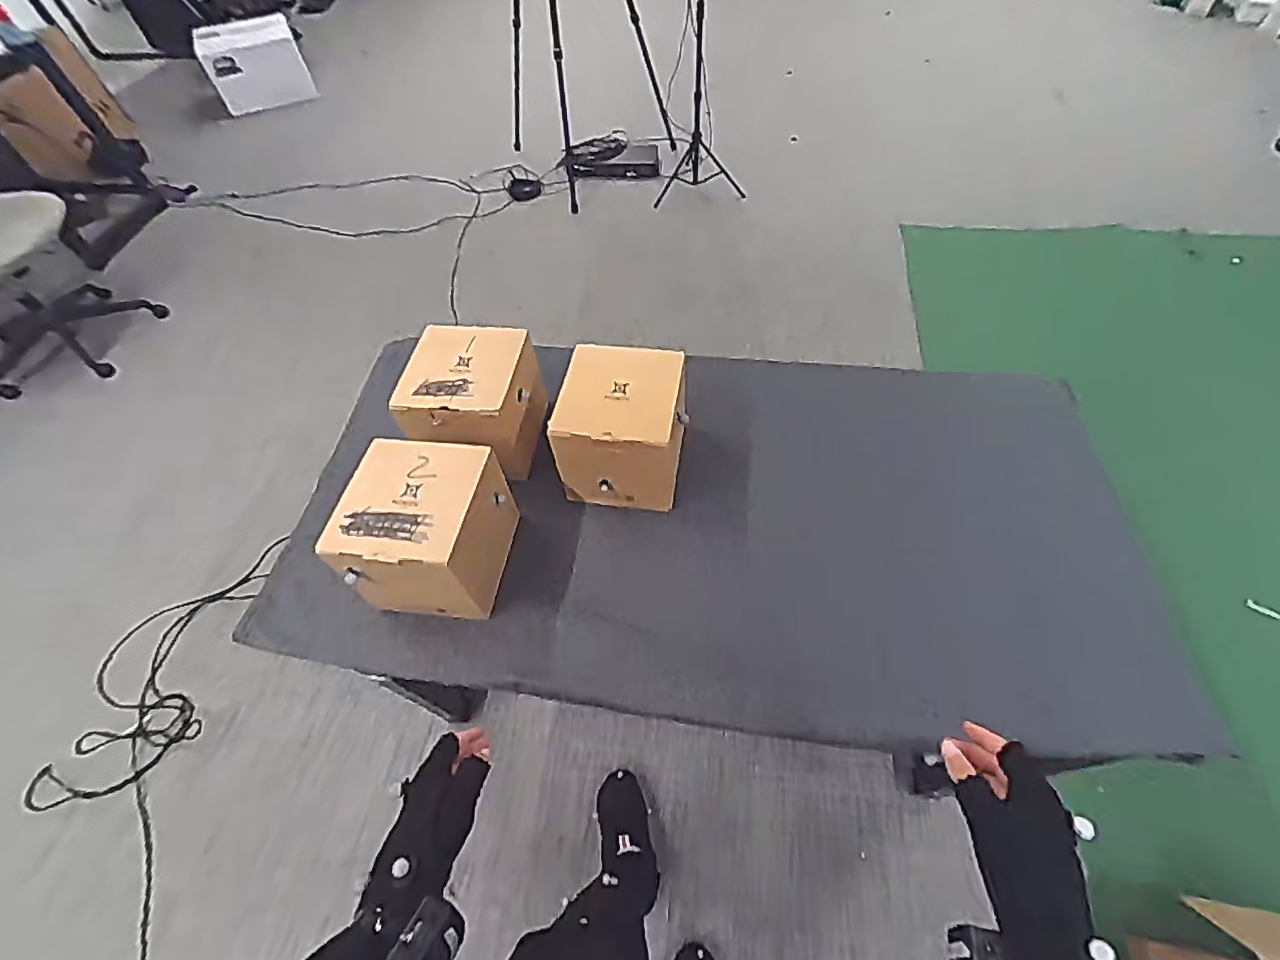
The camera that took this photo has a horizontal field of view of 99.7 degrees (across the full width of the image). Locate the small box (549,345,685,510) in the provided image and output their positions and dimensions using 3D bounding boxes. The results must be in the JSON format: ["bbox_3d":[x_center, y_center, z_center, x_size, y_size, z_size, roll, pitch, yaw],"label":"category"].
[{"bbox_3d":[-0.026,-0.078,0.823,0.168,0.176,0.179,6,57,7],"label":"small box"}]

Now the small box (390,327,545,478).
[{"bbox_3d":[-0.259,-0.120,0.864,0.168,0.176,0.179,4,55,6],"label":"small box"}]
